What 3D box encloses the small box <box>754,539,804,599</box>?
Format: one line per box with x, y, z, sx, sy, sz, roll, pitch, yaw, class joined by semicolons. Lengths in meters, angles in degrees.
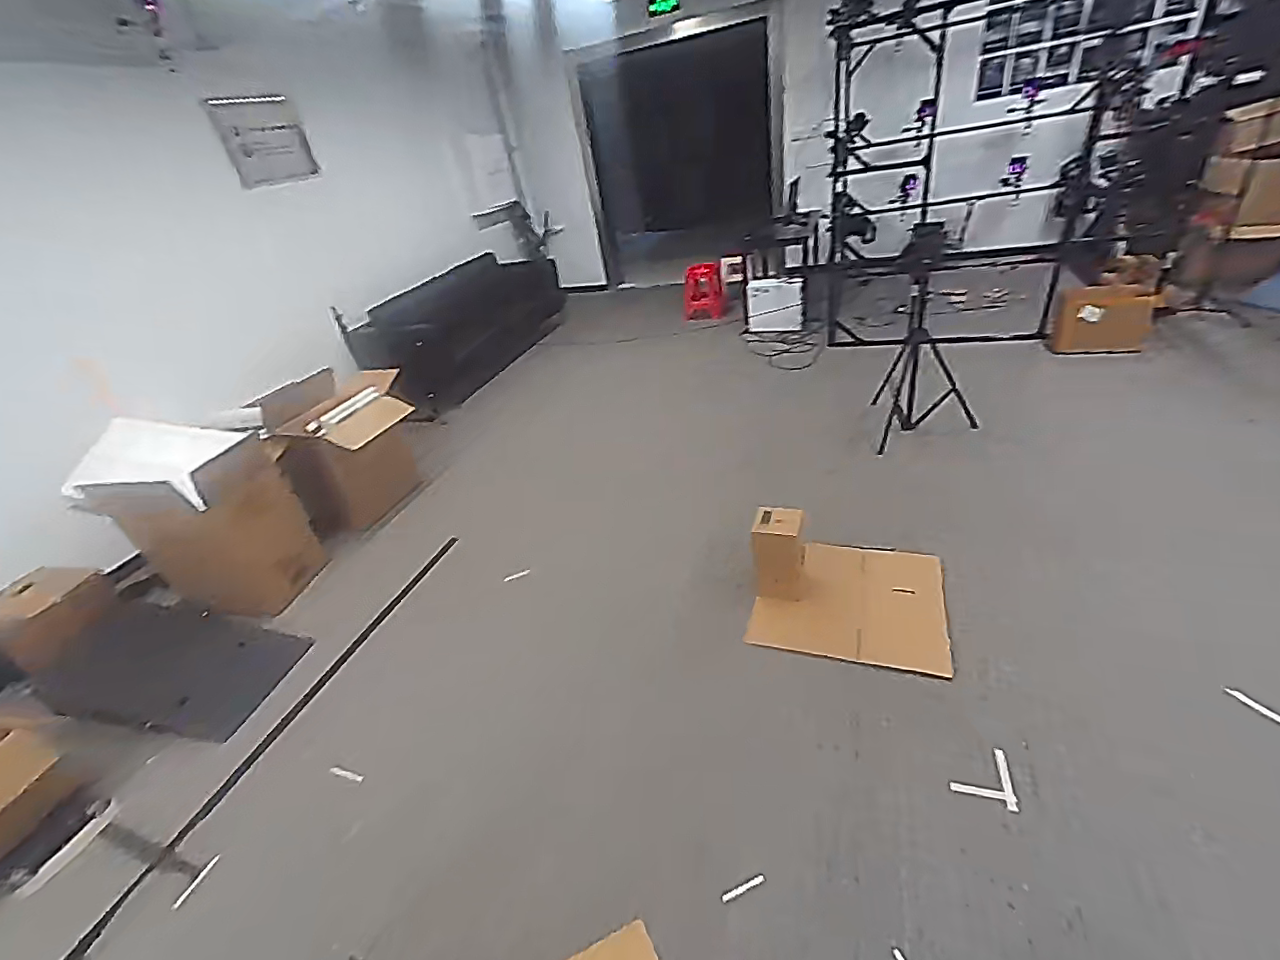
0.572;0.365;2.210;0.179;0.176;0.168;3;34;23;small box
